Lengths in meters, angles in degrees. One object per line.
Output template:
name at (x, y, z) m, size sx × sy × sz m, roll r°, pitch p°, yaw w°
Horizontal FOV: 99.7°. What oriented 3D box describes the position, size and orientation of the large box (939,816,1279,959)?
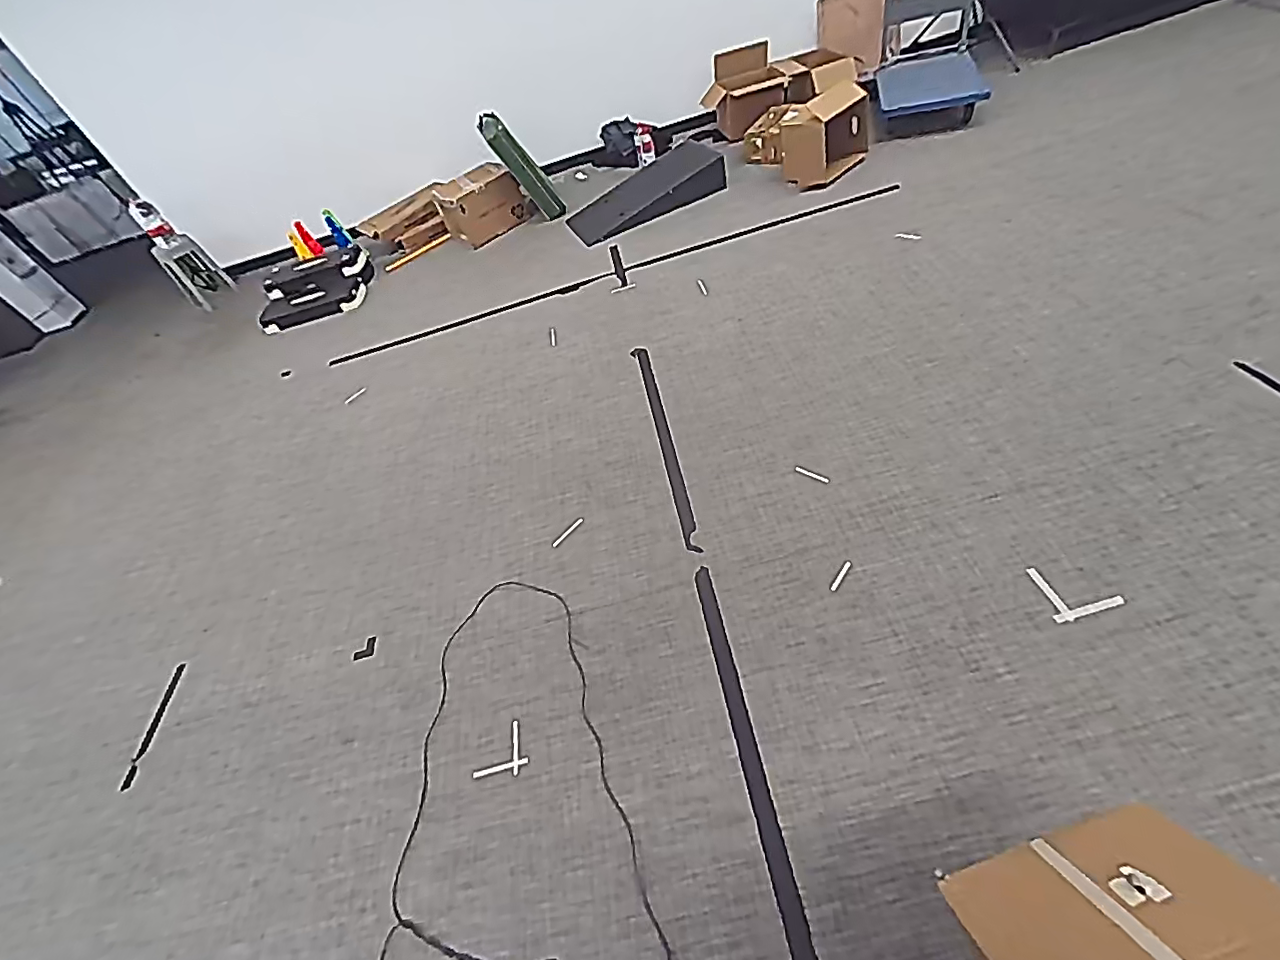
large box at (0.624, 0.663, 0.578) m, size 0.320 × 0.408 × 0.320 m, roll -22°, pitch 82°, yaw 1°
